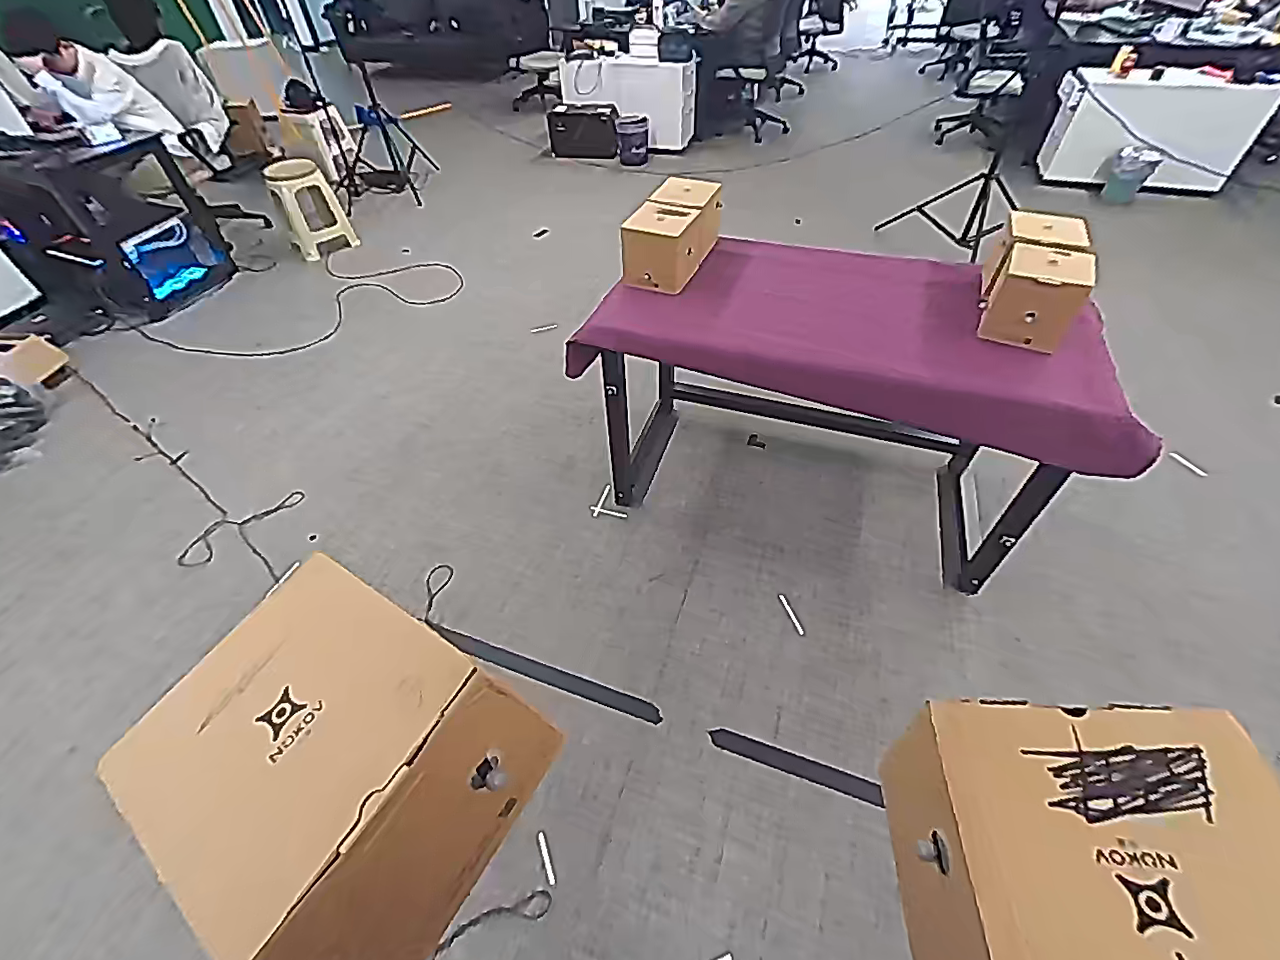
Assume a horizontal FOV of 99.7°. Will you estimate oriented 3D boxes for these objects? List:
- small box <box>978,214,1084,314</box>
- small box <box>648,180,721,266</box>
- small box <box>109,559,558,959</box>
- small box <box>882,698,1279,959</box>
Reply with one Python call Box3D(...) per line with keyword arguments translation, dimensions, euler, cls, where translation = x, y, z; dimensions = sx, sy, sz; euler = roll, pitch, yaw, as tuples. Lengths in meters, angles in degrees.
Box3D(translation=(0.996, -0.556, 1.392), dimensions=(0.168, 0.176, 0.179), euler=(17, 50, 16), cls="small box")
Box3D(translation=(0.131, -0.769, 1.617), dimensions=(0.168, 0.176, 0.179), euler=(17, 51, 17), cls="small box")
Box3D(translation=(-0.185, 0.190, 0.376), dimensions=(0.179, 0.176, 0.168), euler=(20, 58, 29), cls="small box")
Box3D(translation=(0.263, 0.253, 0.334), dimensions=(0.168, 0.176, 0.179), euler=(-3, 50, 9), cls="small box")
